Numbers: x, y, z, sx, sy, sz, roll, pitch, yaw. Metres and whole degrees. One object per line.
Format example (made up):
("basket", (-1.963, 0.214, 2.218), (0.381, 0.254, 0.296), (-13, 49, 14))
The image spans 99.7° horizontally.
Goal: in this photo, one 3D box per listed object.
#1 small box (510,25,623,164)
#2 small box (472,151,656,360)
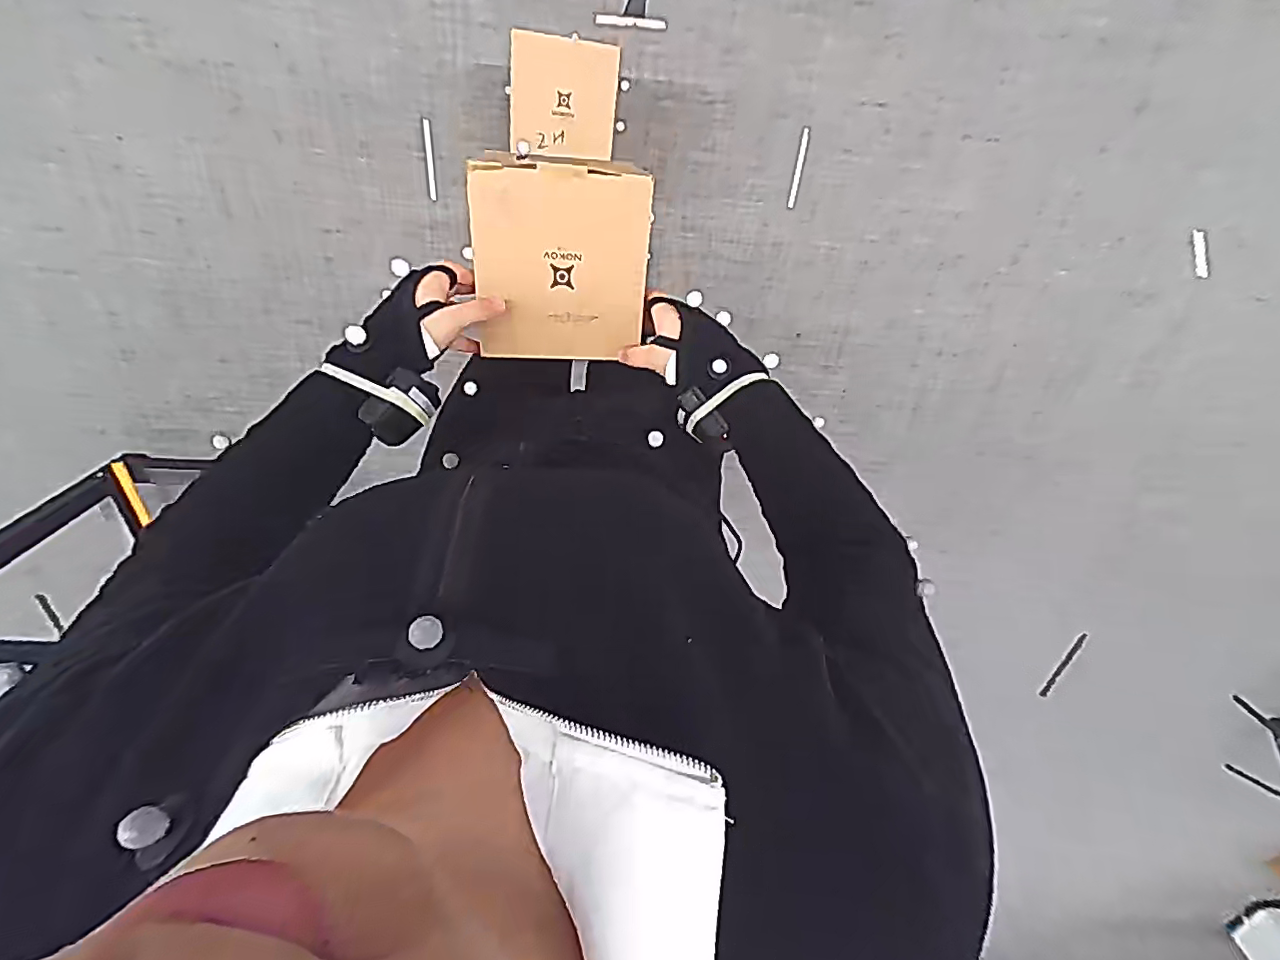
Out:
("small box", (-0.121, -0.629, 0.912), (0.168, 0.176, 0.179), (7, 123, -5))
("small box", (-0.086, -0.245, 0.584), (0.168, 0.176, 0.179), (0, 124, -10))
